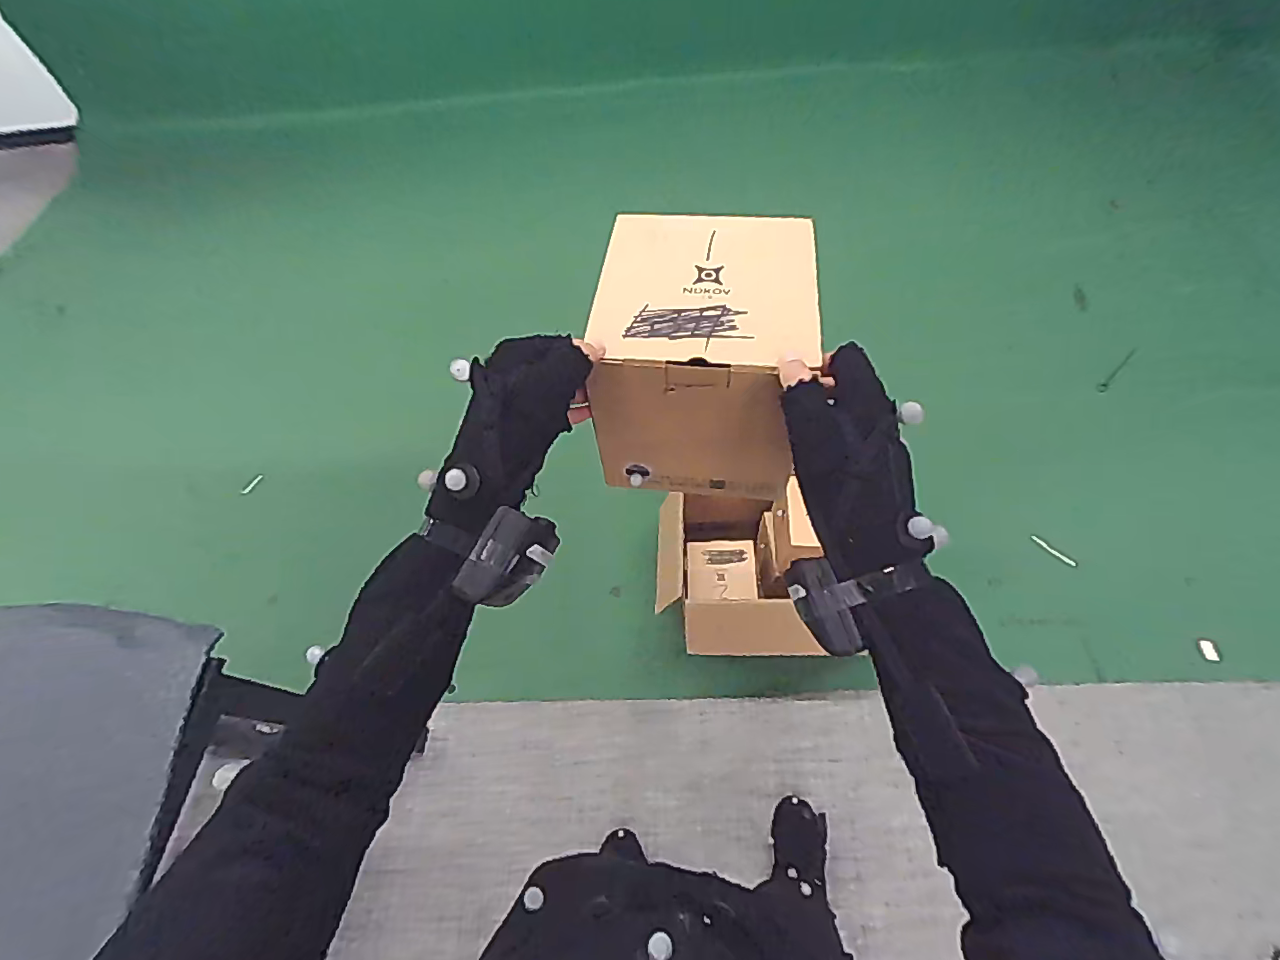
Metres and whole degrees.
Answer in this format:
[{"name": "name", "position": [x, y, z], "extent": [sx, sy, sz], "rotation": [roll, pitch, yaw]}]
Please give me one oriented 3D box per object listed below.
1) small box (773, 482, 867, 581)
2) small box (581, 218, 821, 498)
[{"name": "small box", "position": [0.406, 0.123, 1.247], "extent": [0.168, 0.176, 0.179], "rotation": [2, 59, 4]}, {"name": "small box", "position": [0.056, -0.101, 0.472], "extent": [0.168, 0.176, 0.179], "rotation": [5, 57, 7]}]
